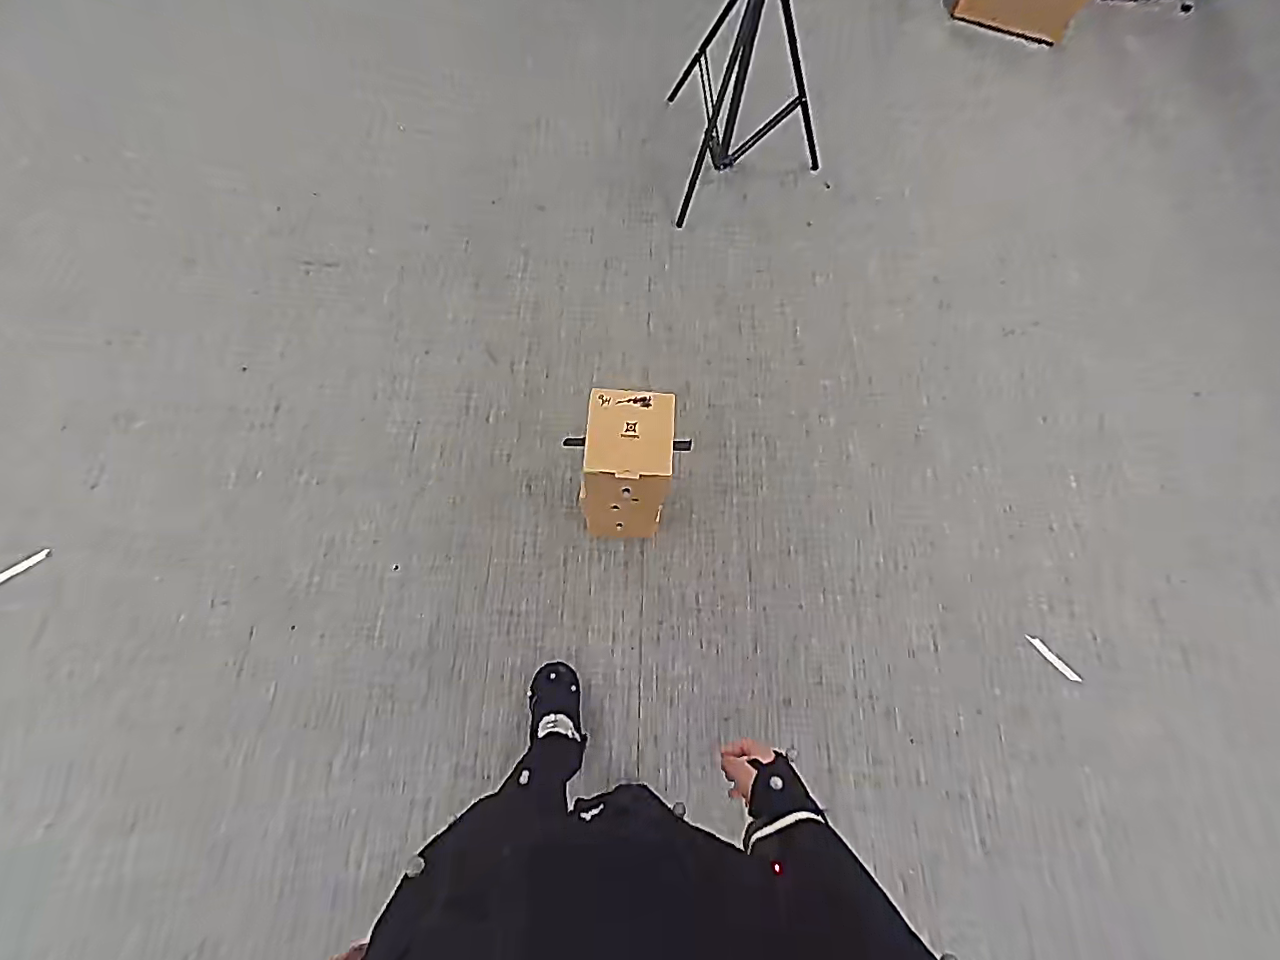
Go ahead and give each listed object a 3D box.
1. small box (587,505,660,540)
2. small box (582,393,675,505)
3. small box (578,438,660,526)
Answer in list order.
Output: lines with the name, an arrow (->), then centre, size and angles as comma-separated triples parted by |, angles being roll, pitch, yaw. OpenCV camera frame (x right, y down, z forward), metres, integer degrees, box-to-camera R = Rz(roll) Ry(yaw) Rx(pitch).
small box -> -0.044, 0.057, 1.395 | 0.179, 0.176, 0.168 | 3, 70, -2
small box -> -0.023, -0.055, 1.087 | 0.168, 0.176, 0.179 | 4, 71, -2
small box -> -0.041, 0.003, 1.239 | 0.179, 0.176, 0.168 | 5, 71, -2
